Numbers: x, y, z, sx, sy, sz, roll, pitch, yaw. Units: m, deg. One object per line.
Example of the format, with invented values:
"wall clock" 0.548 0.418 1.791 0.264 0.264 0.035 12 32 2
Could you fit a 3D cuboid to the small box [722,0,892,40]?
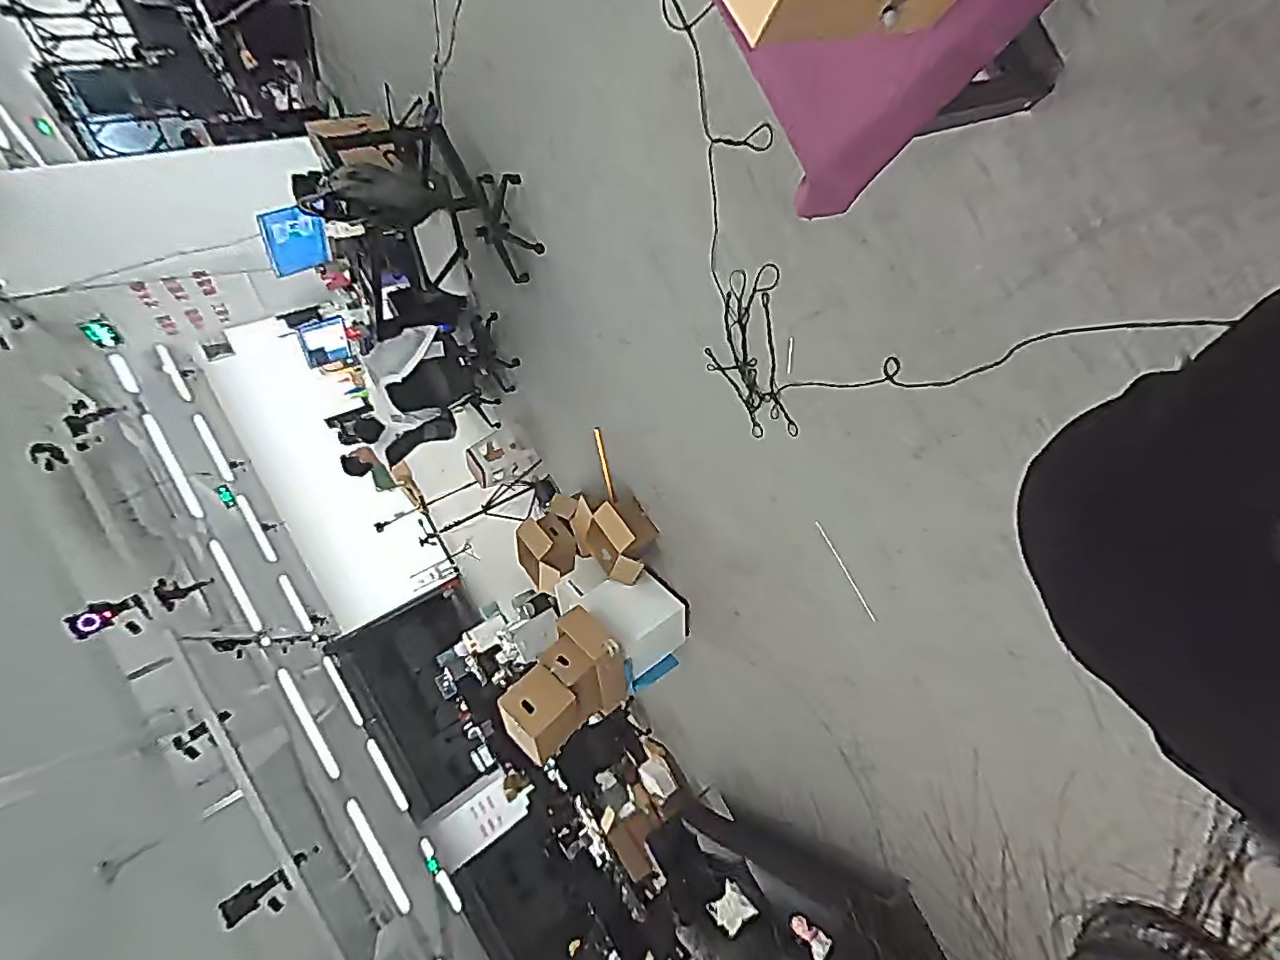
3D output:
"small box" 0.154 -0.517 0.454 0.179 0.176 0.168 61 153 4
